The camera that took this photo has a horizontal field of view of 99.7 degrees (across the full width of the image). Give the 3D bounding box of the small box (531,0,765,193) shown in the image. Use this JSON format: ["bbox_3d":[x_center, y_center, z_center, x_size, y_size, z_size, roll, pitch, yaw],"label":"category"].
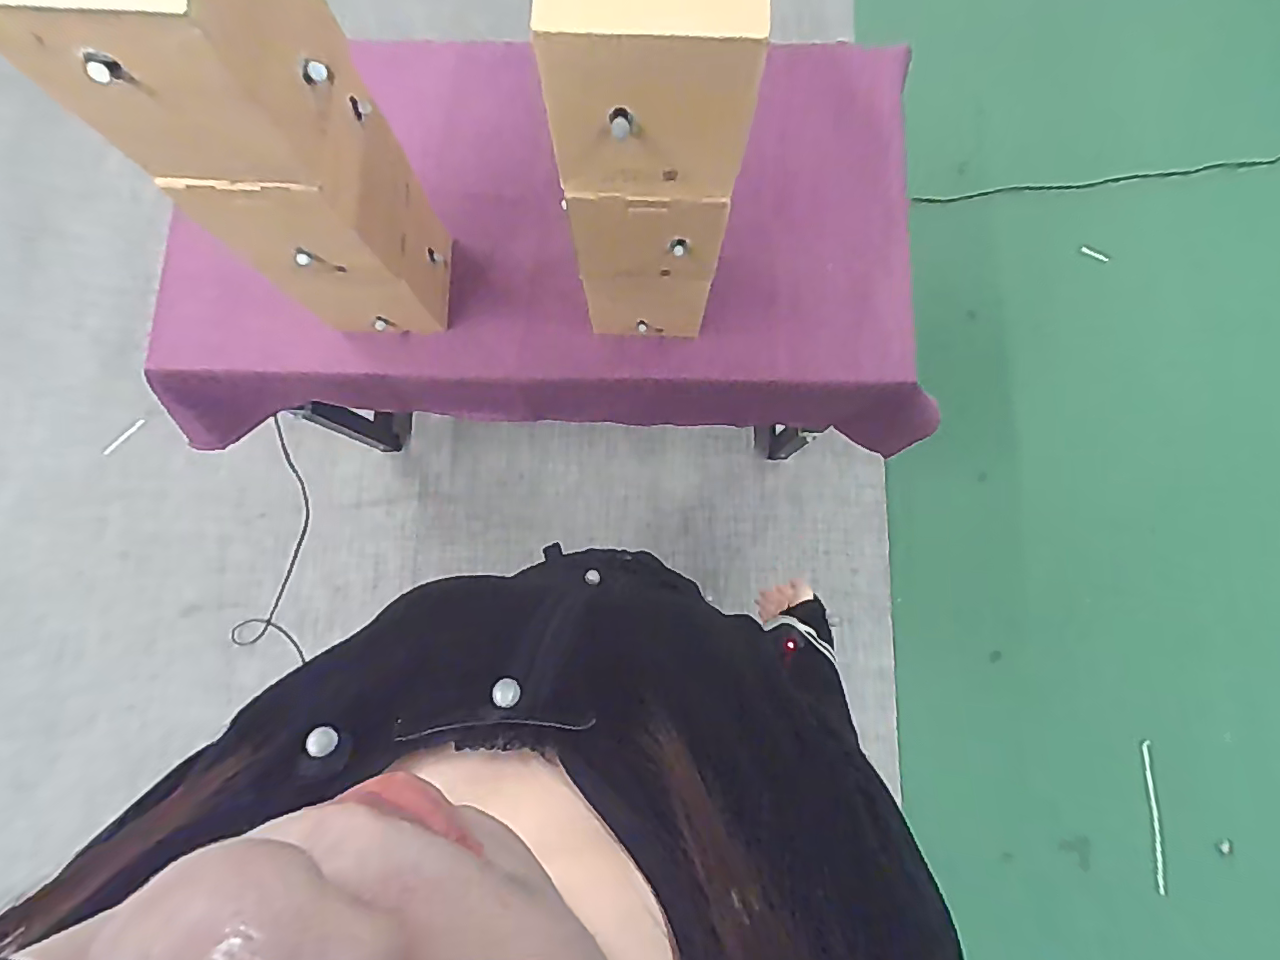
[{"bbox_3d":[0.009,-0.376,0.464,0.168,0.176,0.179,2,81,0],"label":"small box"}]

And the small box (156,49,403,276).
[{"bbox_3d":[-0.392,-0.362,0.623,0.168,0.176,0.179,1,82,0],"label":"small box"}]

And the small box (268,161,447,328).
[{"bbox_3d":[-0.393,-0.333,0.785,0.179,0.176,0.168,0,81,-1],"label":"small box"}]

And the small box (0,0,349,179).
[{"bbox_3d":[-0.386,-0.387,0.460,0.179,0.176,0.168,3,81,-1],"label":"small box"}]

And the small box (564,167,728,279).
[{"bbox_3d":[0.010,-0.351,0.624,0.168,0.176,0.179,2,82,0],"label":"small box"}]
